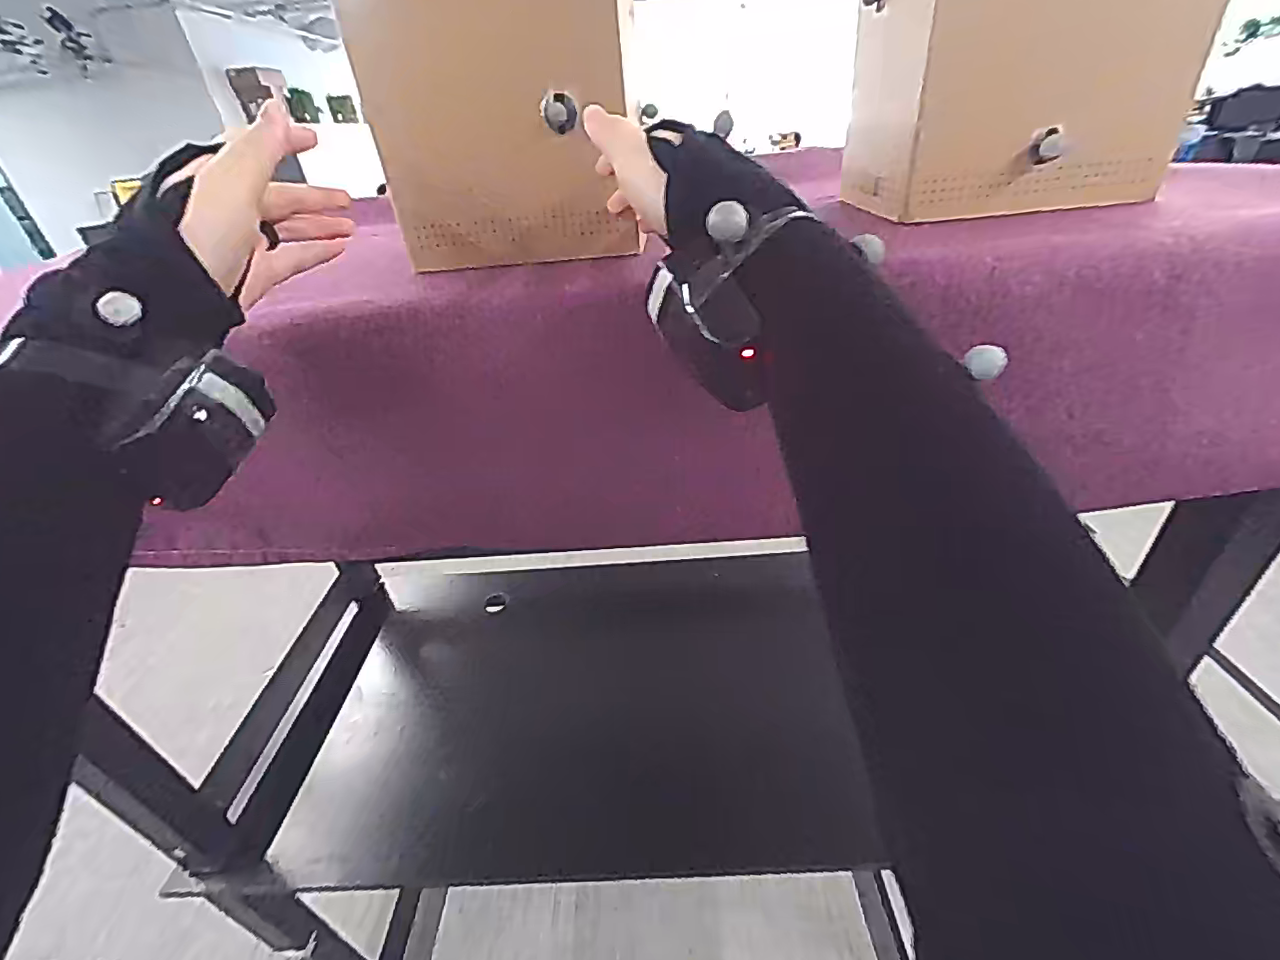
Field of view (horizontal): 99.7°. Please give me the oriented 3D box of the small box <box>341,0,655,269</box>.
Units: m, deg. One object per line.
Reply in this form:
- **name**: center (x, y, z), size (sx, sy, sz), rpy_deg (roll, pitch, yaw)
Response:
- **small box**: center (-0.082, -0.272, 0.421), size (0.179, 0.176, 0.168), rpy_deg (-2, 32, 6)

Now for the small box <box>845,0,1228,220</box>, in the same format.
- **small box**: center (0.272, -0.303, 0.406), size (0.179, 0.176, 0.168), rpy_deg (-3, 32, 4)
